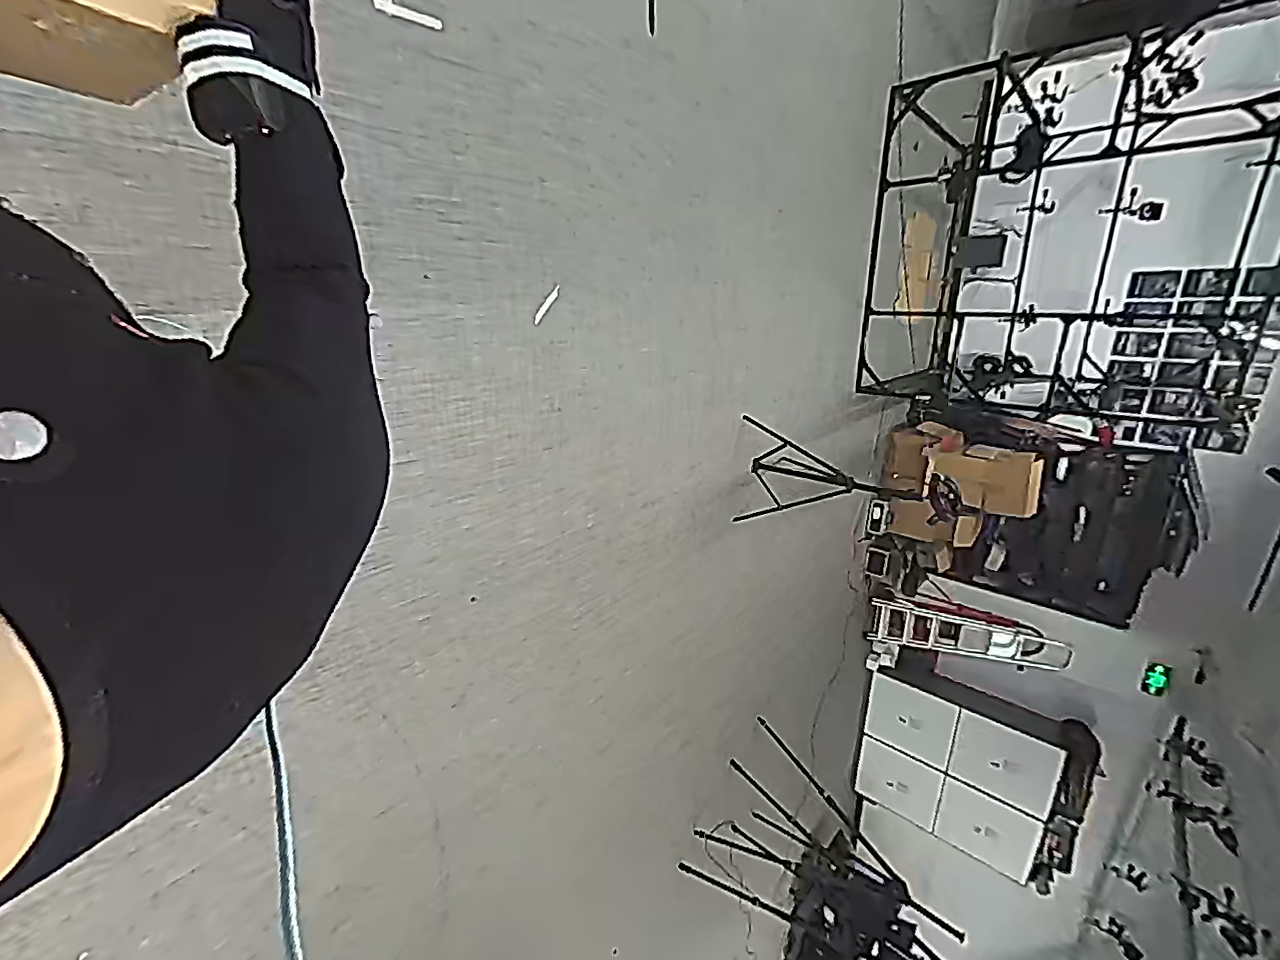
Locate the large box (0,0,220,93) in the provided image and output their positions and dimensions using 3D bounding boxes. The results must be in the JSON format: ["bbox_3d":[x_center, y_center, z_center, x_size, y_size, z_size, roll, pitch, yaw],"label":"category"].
[{"bbox_3d":[-0.529,-0.467,0.282,0.408,0.320,0.320,-15,118,-49],"label":"large box"}]
